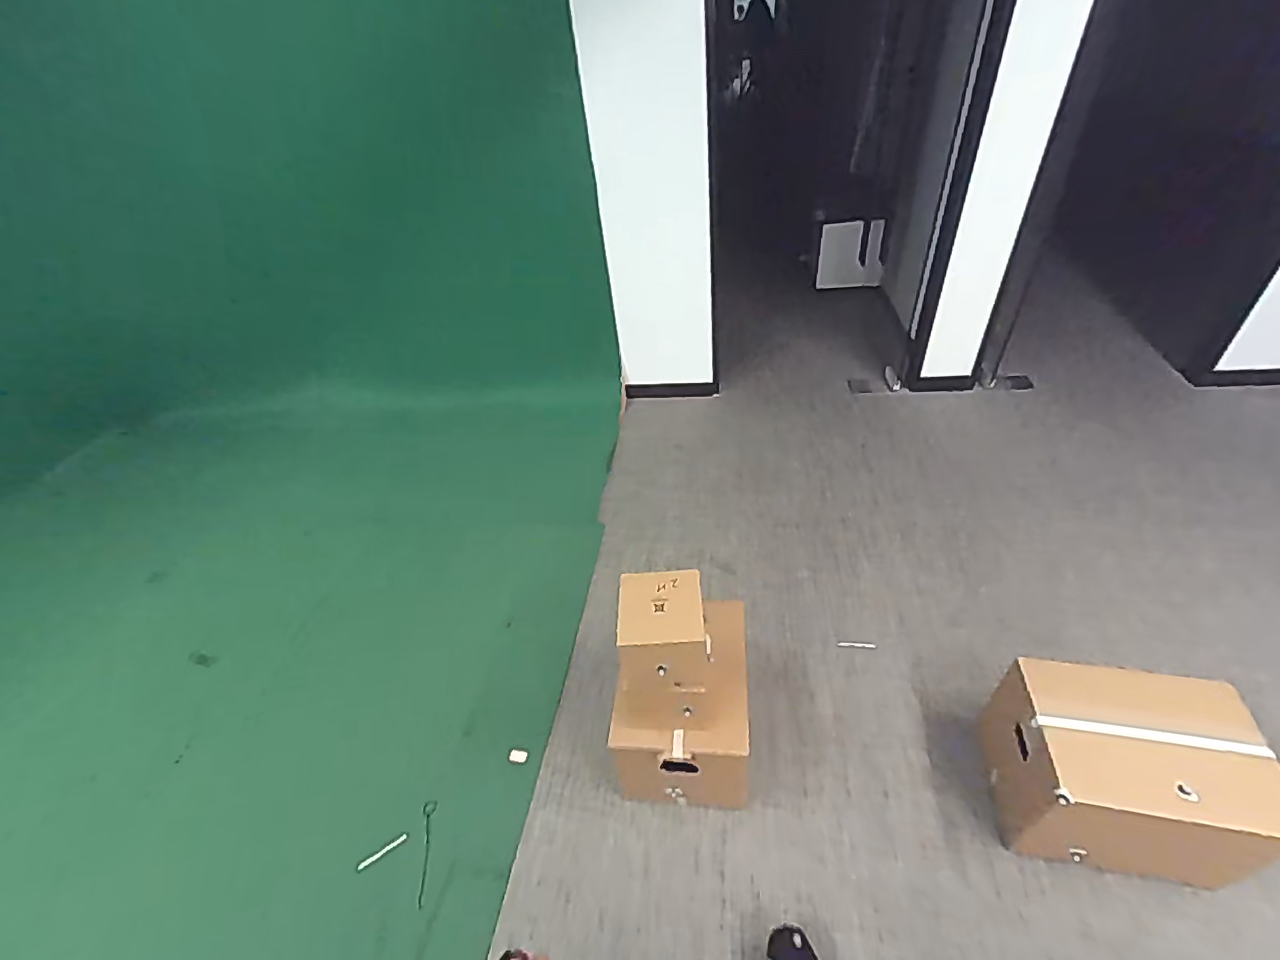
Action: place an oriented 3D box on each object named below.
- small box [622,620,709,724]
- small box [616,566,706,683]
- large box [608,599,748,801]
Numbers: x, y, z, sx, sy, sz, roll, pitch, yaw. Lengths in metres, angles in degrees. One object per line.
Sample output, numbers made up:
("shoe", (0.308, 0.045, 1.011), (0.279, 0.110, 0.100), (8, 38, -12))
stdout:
("small box", (0.064, 0.429, 1.212), (0.179, 0.176, 0.168), (-2, 40, 9))
("small box", (0.047, 0.301, 1.111), (0.168, 0.176, 0.179), (-4, 39, 5))
("large box", (0.116, 0.567, 1.419), (0.320, 0.320, 0.408), (0, 40, 9))
